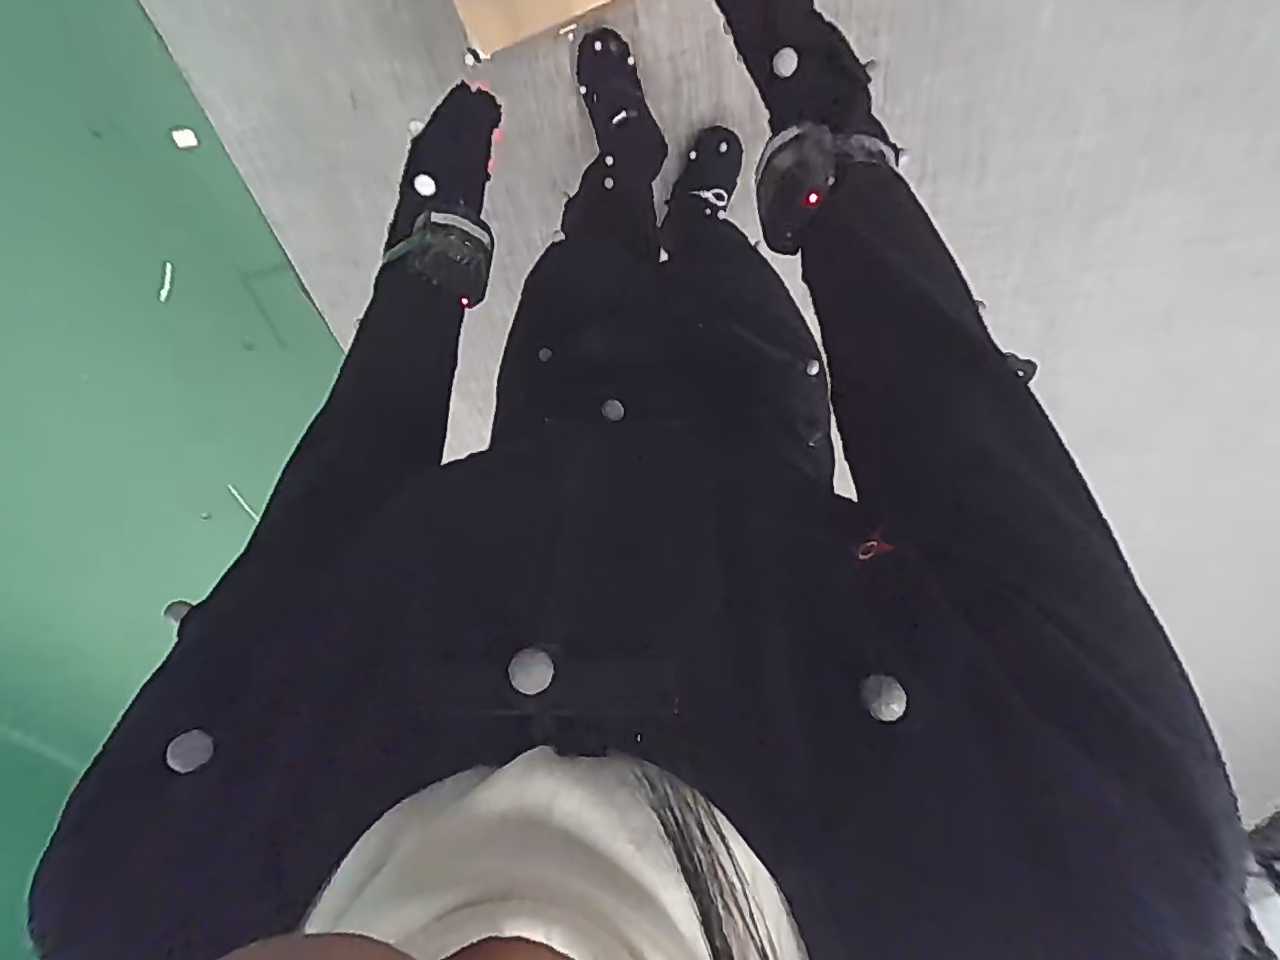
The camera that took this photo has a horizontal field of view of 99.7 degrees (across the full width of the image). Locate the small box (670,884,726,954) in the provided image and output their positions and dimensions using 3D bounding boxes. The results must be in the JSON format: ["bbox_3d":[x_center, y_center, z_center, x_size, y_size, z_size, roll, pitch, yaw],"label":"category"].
[{"bbox_3d":[0.207,1.561,1.926,0.179,0.176,0.168,-8,128,12],"label":"small box"}]
